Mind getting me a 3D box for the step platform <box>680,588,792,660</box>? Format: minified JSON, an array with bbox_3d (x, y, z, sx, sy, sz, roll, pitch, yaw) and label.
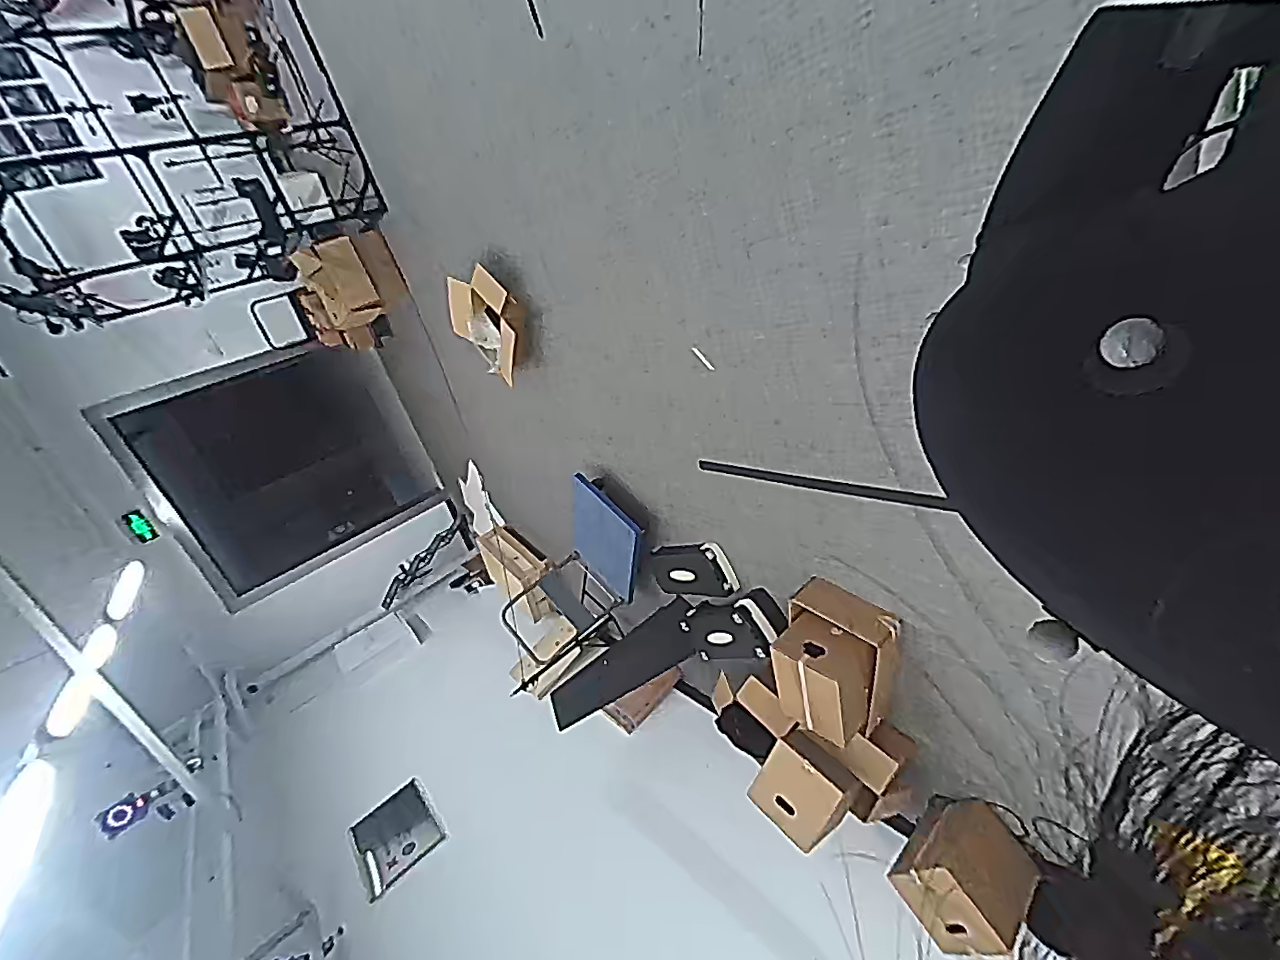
[{"bbox_3d":[0.483,0.786,2.881,0.286,0.204,0.684,56,149,3],"label":"step platform"}]
